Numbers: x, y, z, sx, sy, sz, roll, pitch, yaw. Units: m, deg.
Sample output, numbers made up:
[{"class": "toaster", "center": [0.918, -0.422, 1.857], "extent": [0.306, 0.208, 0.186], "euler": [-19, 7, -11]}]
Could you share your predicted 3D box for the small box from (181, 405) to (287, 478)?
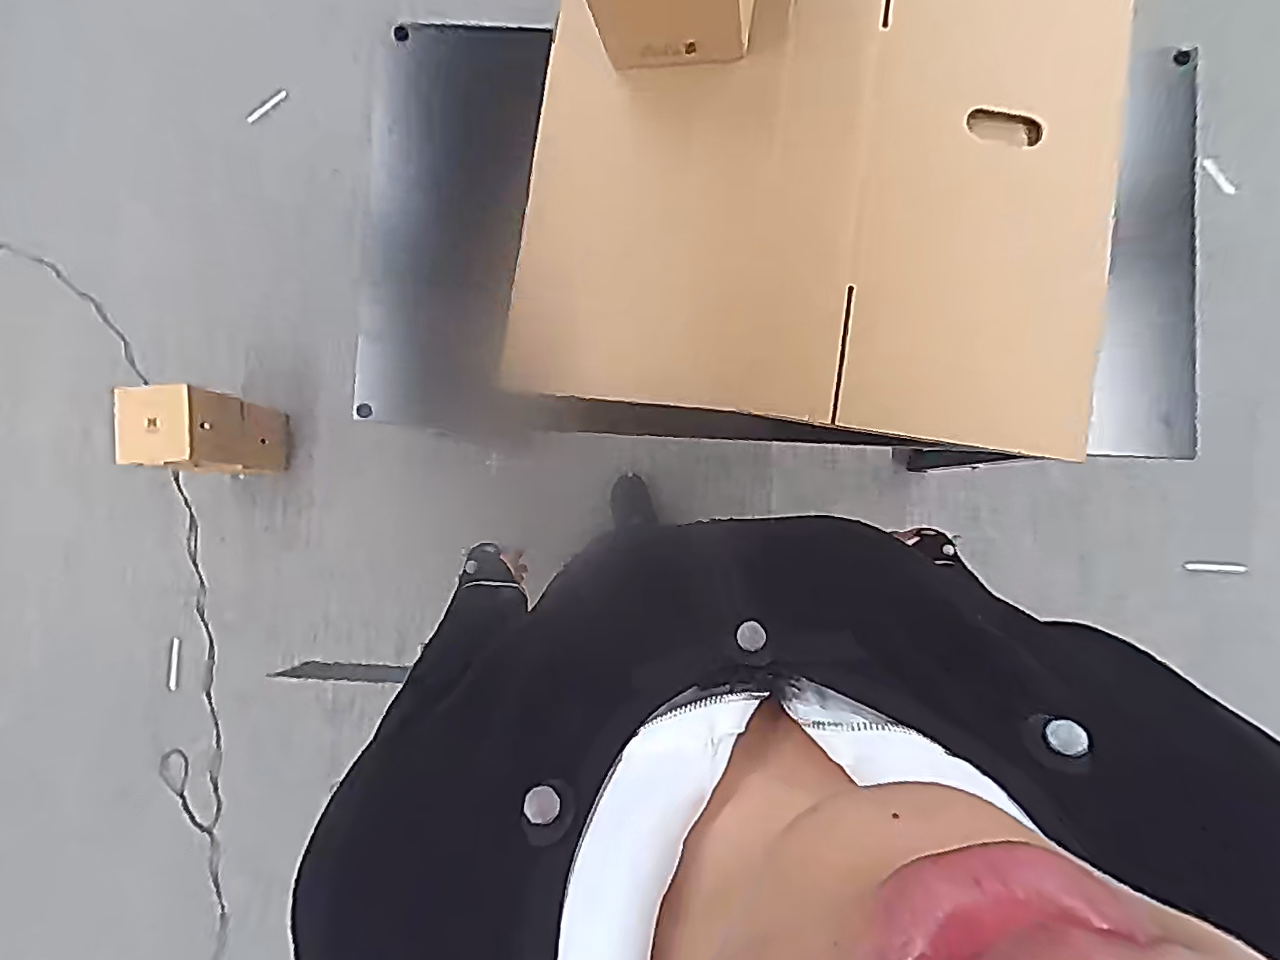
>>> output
[{"class": "small box", "center": [-1.078, -0.099, 1.444], "extent": [0.168, 0.176, 0.179], "euler": [-2, 88, 1]}]

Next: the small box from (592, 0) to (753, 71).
[{"class": "small box", "center": [0.034, -0.582, 0.569], "extent": [0.168, 0.176, 0.179], "euler": [7, 86, 16]}]

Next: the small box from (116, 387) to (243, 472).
[{"class": "small box", "center": [-1.082, -0.112, 1.282], "extent": [0.168, 0.176, 0.179], "euler": [-5, 86, 0]}]
